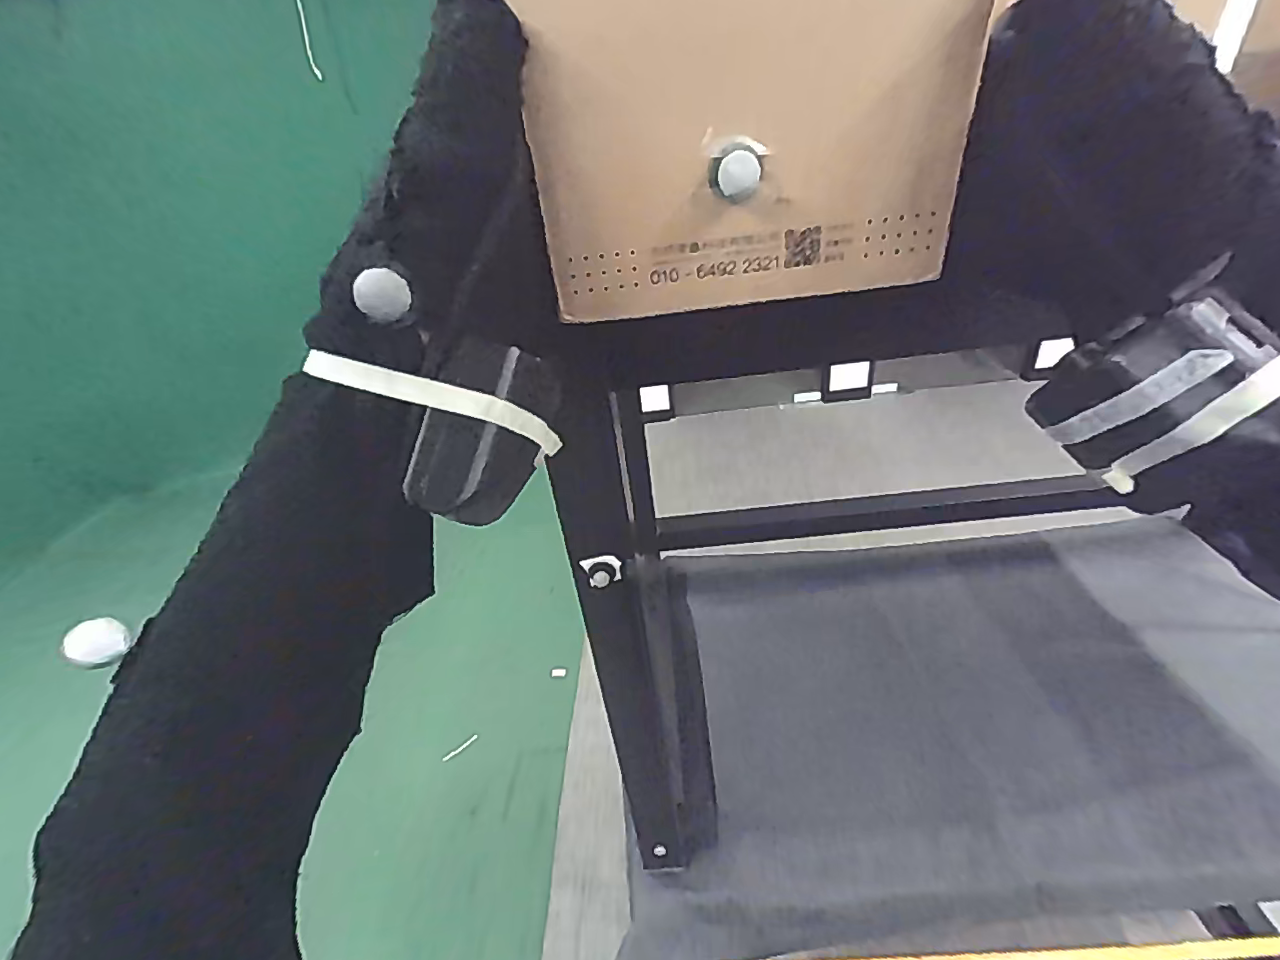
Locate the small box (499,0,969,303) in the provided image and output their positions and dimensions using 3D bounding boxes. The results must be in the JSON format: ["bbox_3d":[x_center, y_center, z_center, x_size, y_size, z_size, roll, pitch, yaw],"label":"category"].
[{"bbox_3d":[0.031,-0.194,0.259,0.168,0.176,0.179,-6,34,2],"label":"small box"}]
